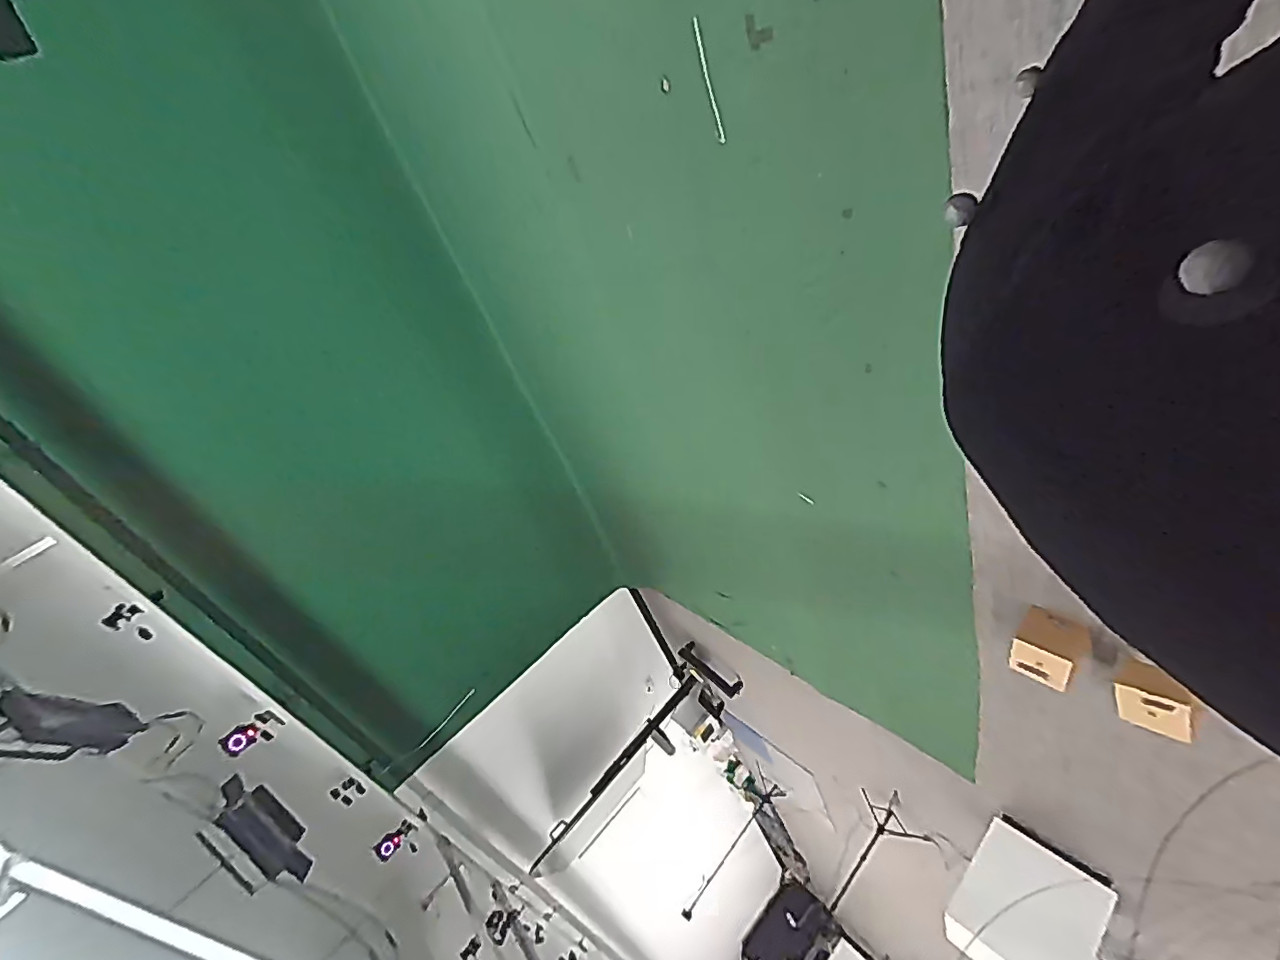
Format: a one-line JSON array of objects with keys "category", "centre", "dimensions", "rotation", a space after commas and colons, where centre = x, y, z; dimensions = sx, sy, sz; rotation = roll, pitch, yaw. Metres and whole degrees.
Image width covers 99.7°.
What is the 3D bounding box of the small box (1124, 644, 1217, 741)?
[{"category": "small box", "centre": [1.576, 0.621, 1.607], "dimensions": [0.168, 0.176, 0.179], "rotation": [12, 136, 56]}]
